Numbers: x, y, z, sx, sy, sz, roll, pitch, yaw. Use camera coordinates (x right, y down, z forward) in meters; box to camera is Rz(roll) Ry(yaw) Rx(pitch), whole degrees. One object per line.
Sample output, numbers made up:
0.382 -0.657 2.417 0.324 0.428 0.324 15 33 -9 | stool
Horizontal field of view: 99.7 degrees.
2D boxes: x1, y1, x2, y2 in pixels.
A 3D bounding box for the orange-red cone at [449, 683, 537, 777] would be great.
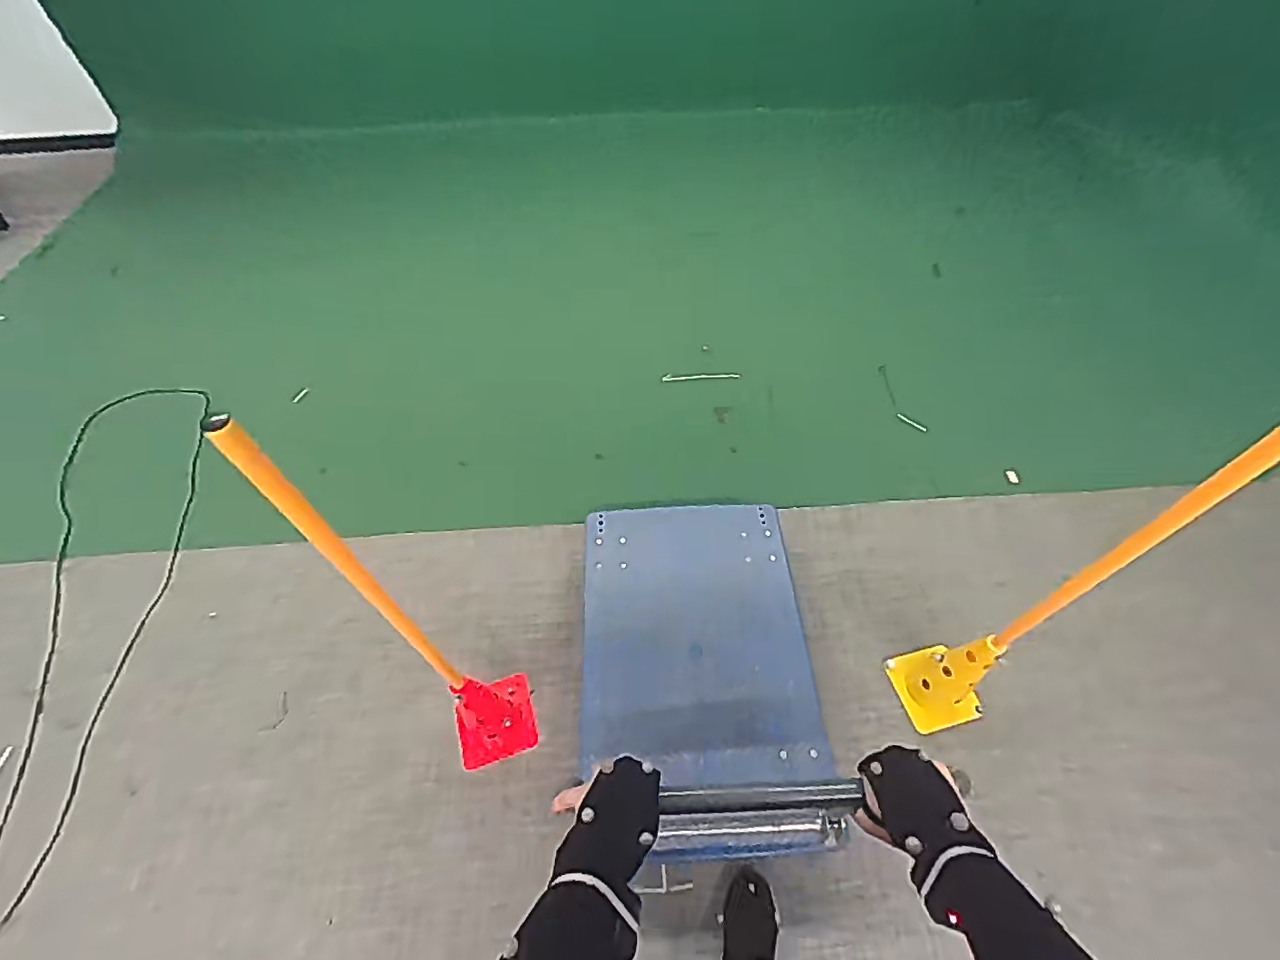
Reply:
-0.386 0.558 1.292 0.199 0.360 0.198 -16 54 -9 | orange-red cone
